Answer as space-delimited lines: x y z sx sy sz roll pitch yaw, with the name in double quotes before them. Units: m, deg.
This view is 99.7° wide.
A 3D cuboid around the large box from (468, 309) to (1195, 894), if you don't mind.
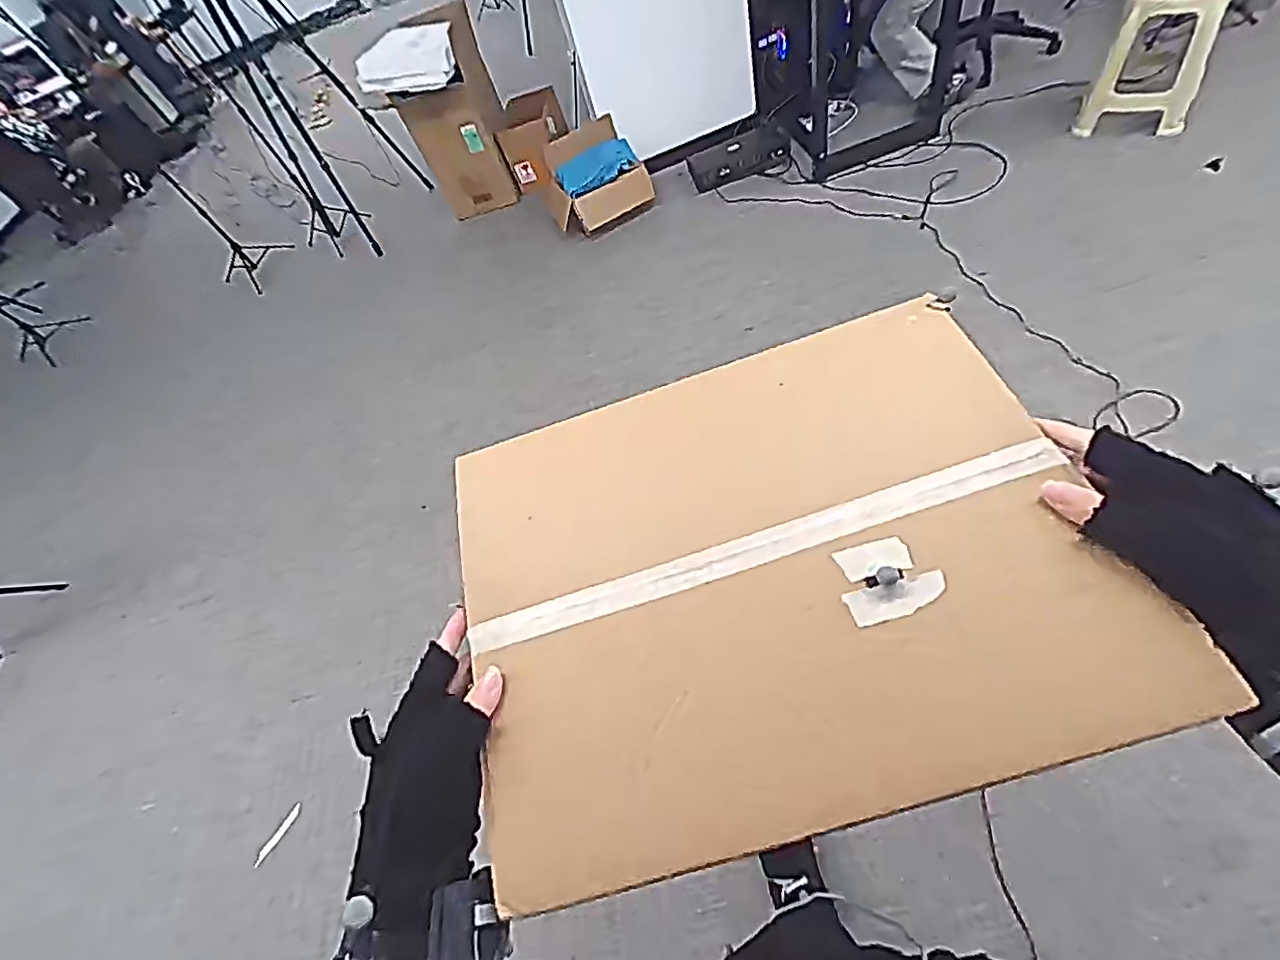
"large box" 0.106 0.118 0.503 0.408 0.320 0.320 -19 60 3
